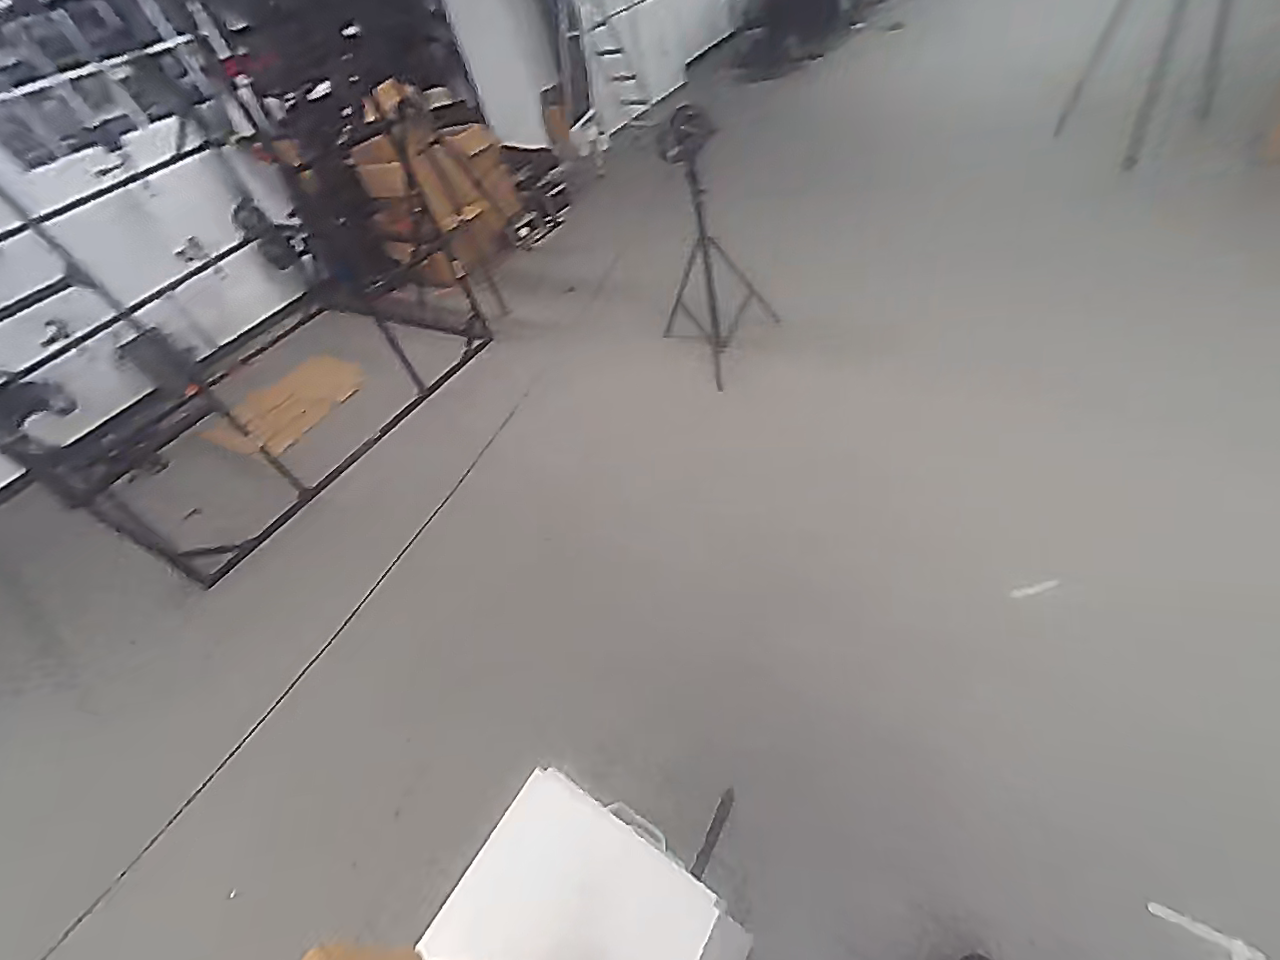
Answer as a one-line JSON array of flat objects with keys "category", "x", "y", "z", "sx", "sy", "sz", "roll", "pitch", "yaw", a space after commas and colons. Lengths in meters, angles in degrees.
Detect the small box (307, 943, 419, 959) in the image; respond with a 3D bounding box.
[{"category": "small box", "x": -0.249, "y": 0.550, "z": 0.457, "sx": 0.168, "sy": 0.176, "sz": 0.179, "roll": 19, "pitch": 56, "yaw": 33}]
